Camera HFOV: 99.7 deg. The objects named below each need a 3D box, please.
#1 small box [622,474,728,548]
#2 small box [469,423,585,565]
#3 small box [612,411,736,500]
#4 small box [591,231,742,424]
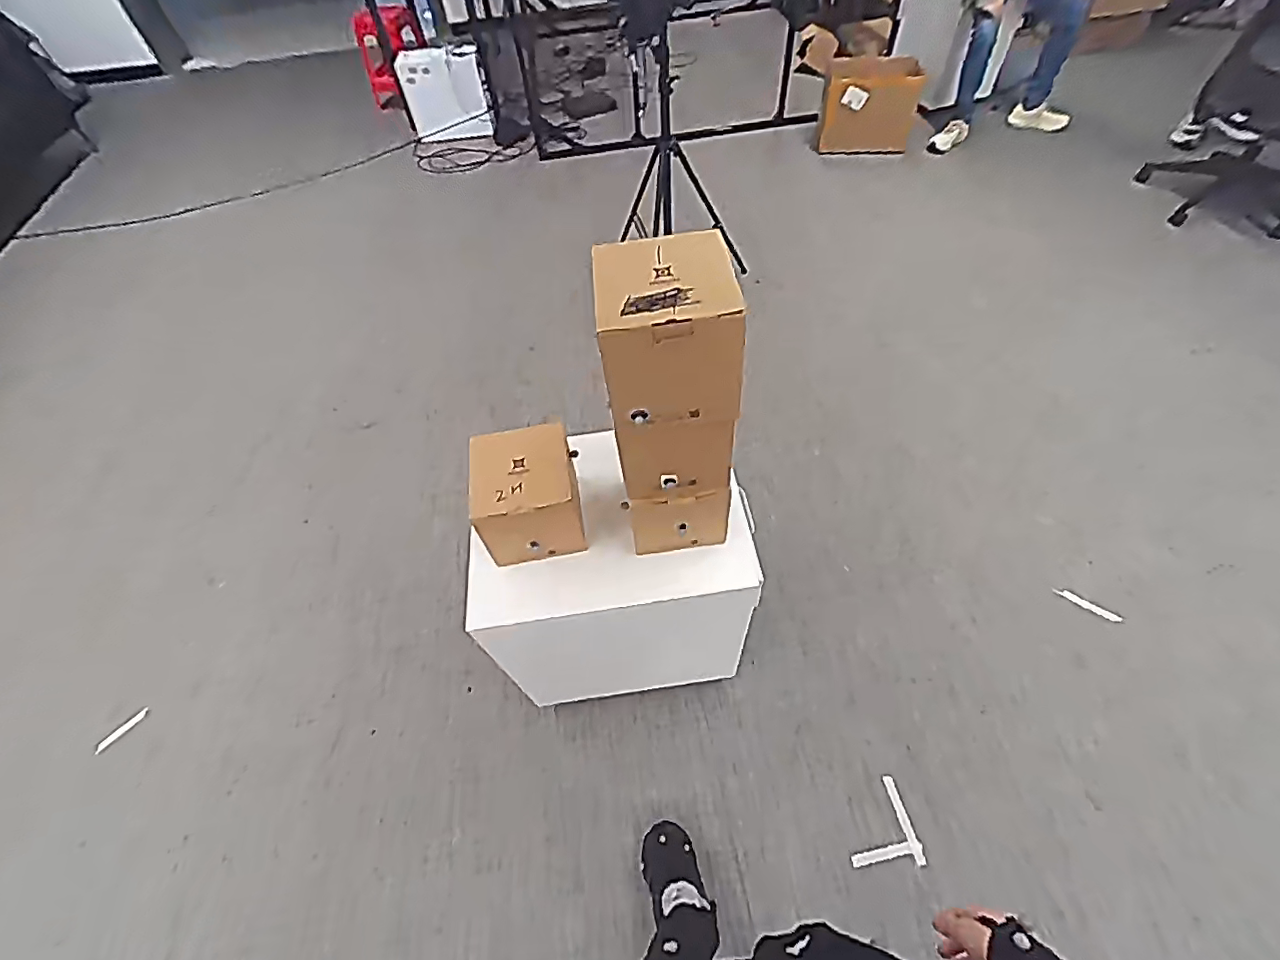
[{"bbox_3d":[0.057,0.009,0.957,0.168,0.176,0.179,-8,56,0],"label":"small box"},{"bbox_3d":[-0.197,0.028,0.962,0.168,0.176,0.179,-10,55,-3],"label":"small box"},{"bbox_3d":[0.044,-0.093,0.830,0.168,0.176,0.179,-9,55,1],"label":"small box"},{"bbox_3d":[0.033,-0.186,0.694,0.168,0.176,0.179,-7,53,1],"label":"small box"}]
